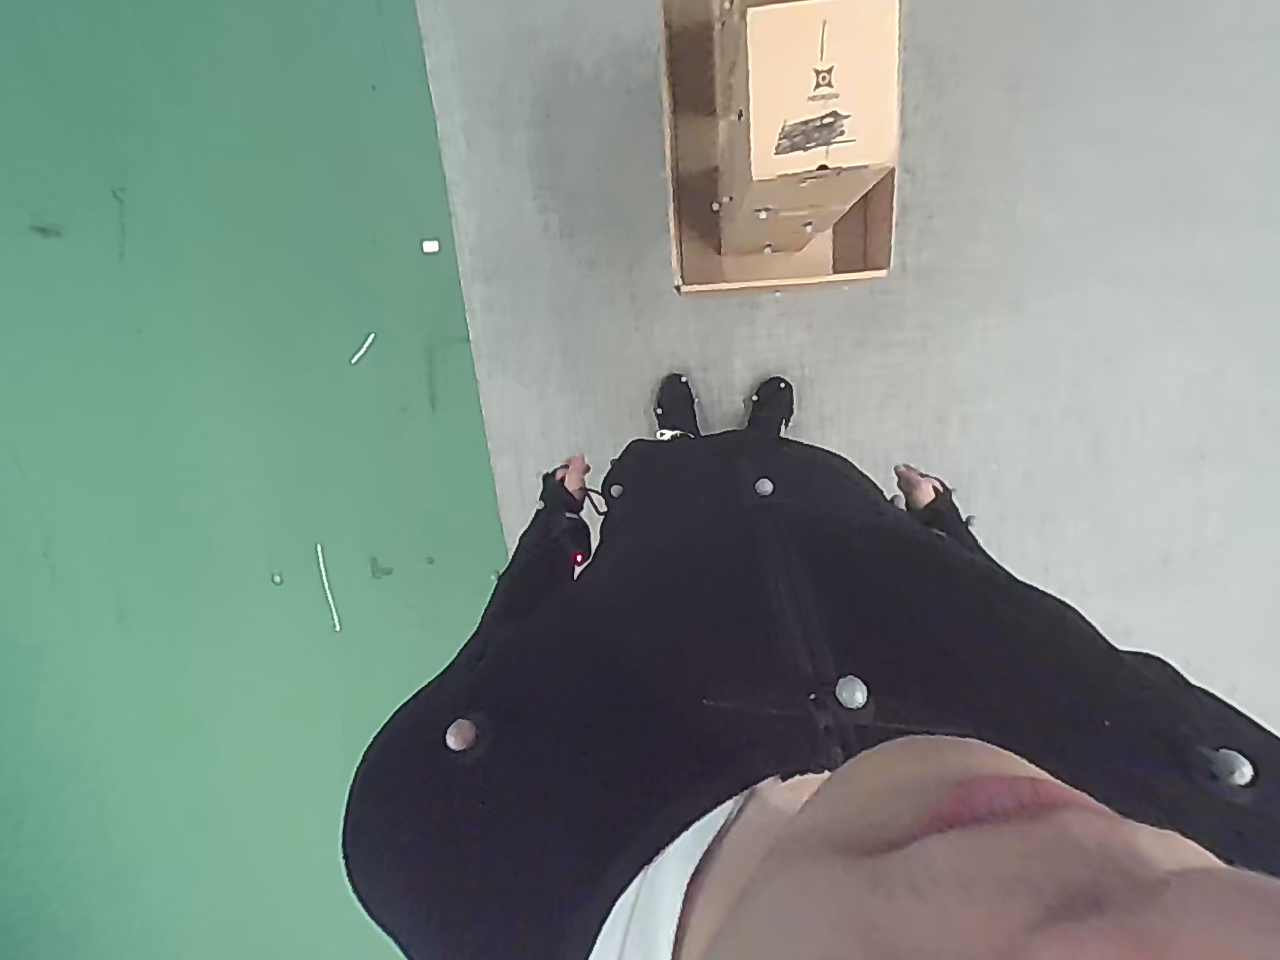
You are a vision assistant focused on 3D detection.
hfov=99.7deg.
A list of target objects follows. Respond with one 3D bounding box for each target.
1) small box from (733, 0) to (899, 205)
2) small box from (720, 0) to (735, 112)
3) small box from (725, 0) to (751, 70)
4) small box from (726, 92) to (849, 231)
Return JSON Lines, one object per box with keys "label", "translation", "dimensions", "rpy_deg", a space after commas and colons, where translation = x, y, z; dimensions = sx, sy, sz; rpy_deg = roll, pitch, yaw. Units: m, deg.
{"label": "small box", "translation": [0.208, -0.462, 0.682], "dimensions": [0.168, 0.176, 0.179], "rpy_deg": [-3, 102, 5]}
{"label": "small box", "translation": [0.228, -0.781, 0.947], "dimensions": [0.168, 0.176, 0.179], "rpy_deg": [-2, 104, 6]}
{"label": "small box", "translation": [0.213, -0.740, 0.791], "dimensions": [0.168, 0.176, 0.179], "rpy_deg": [-3, 104, 5]}
{"label": "small box", "translation": [0.224, -0.496, 0.841], "dimensions": [0.168, 0.176, 0.179], "rpy_deg": [-2, 102, 5]}
